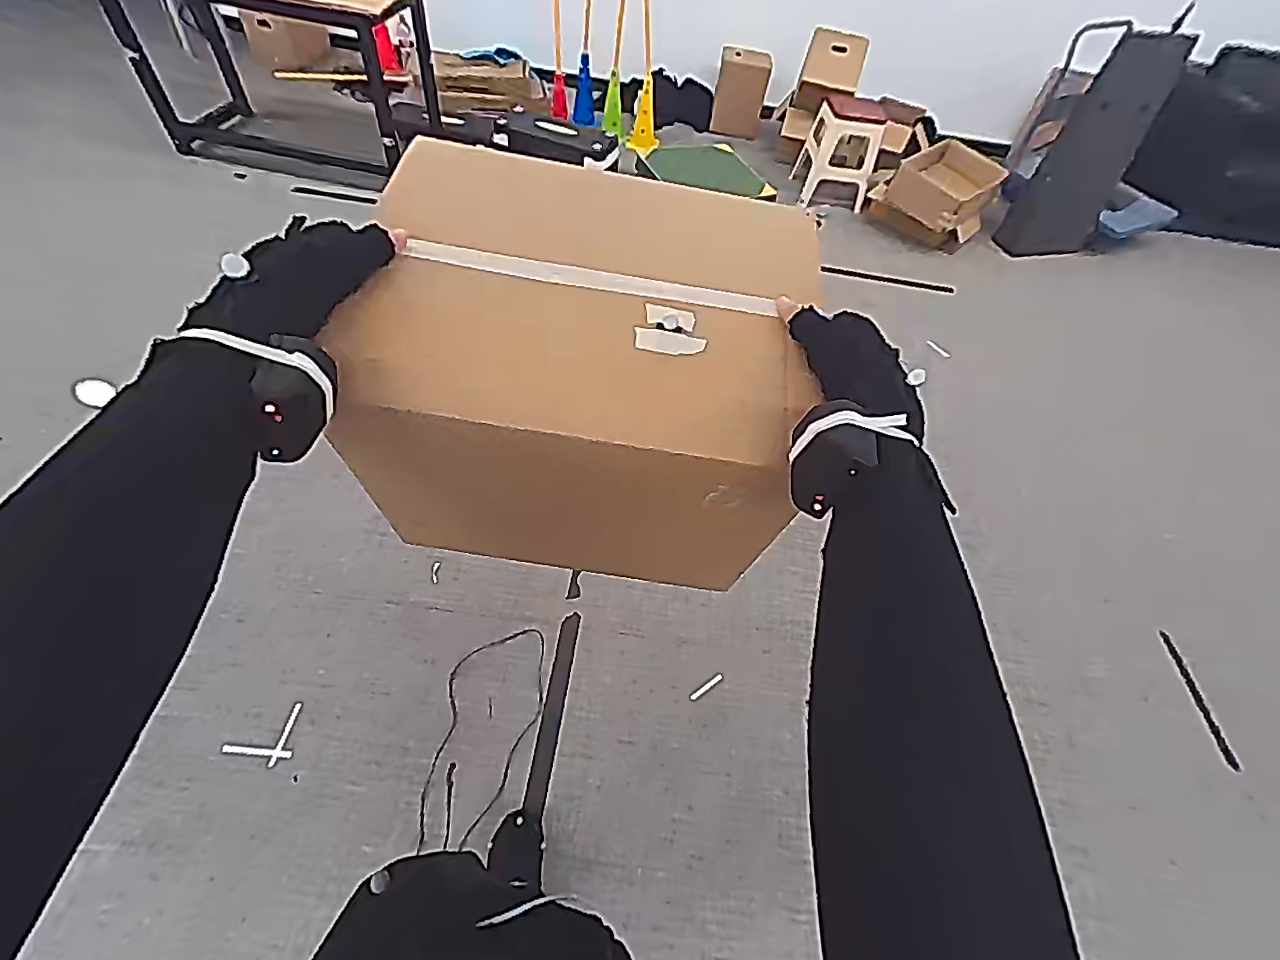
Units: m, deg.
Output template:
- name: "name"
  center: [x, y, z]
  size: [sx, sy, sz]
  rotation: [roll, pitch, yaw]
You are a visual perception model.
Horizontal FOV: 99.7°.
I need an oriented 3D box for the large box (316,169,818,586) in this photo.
- name: "large box"
  center: [-0.059, -0.090, 0.622]
  size: [0.408, 0.320, 0.320]
  rotation: [9, 62, -4]
